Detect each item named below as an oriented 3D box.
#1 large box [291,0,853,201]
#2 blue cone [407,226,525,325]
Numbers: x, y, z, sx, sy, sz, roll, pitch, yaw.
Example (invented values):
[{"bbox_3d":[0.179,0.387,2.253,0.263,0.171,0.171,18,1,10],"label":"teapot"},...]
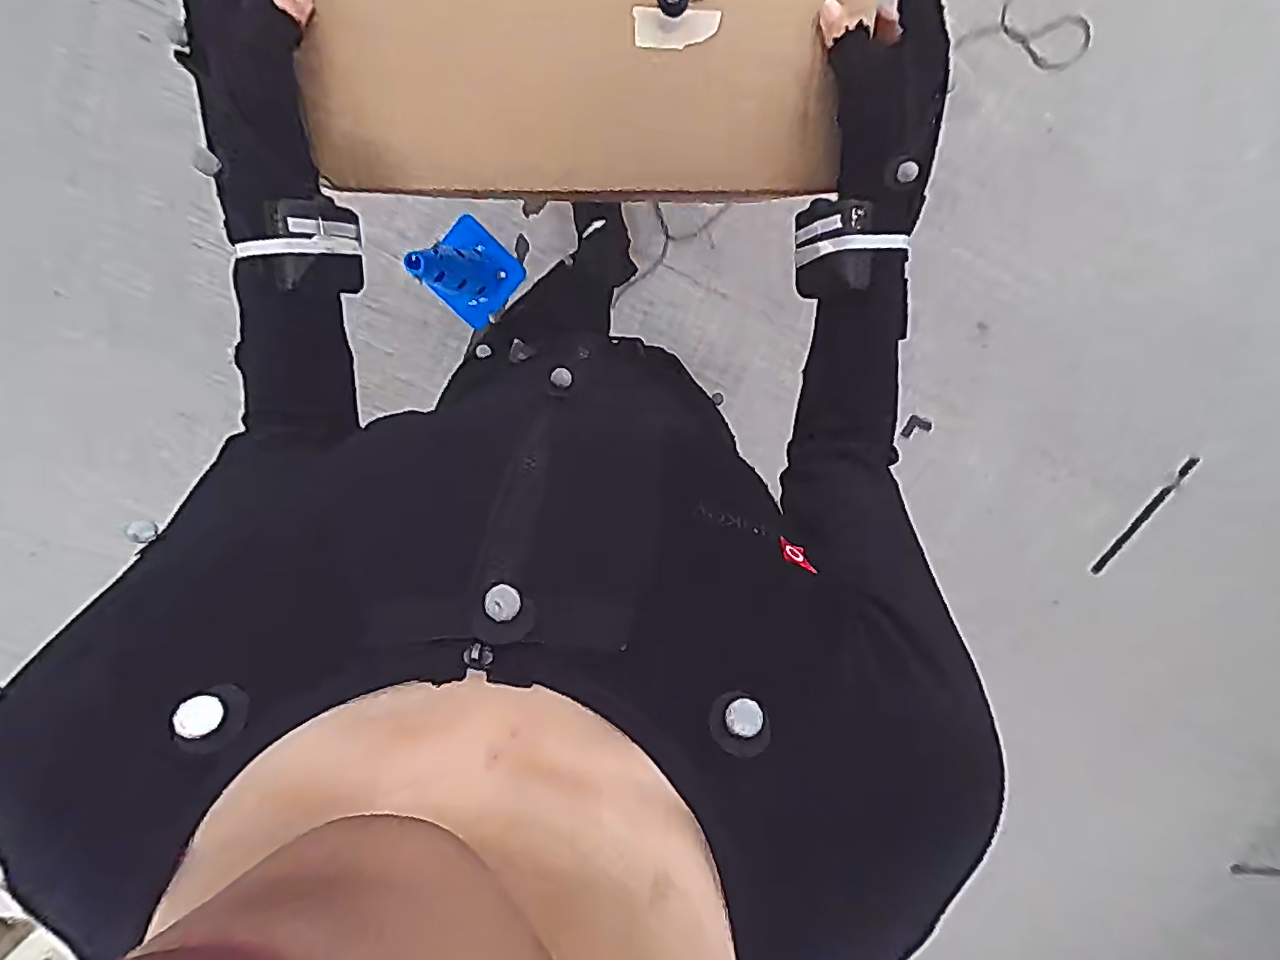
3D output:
[{"bbox_3d":[-0.050,-0.441,0.496,0.408,0.320,0.320,-1,116,-1],"label":"large box"},{"bbox_3d":[-0.407,-0.453,1.184,0.192,0.380,0.193,-42,103,14],"label":"blue cone"}]
